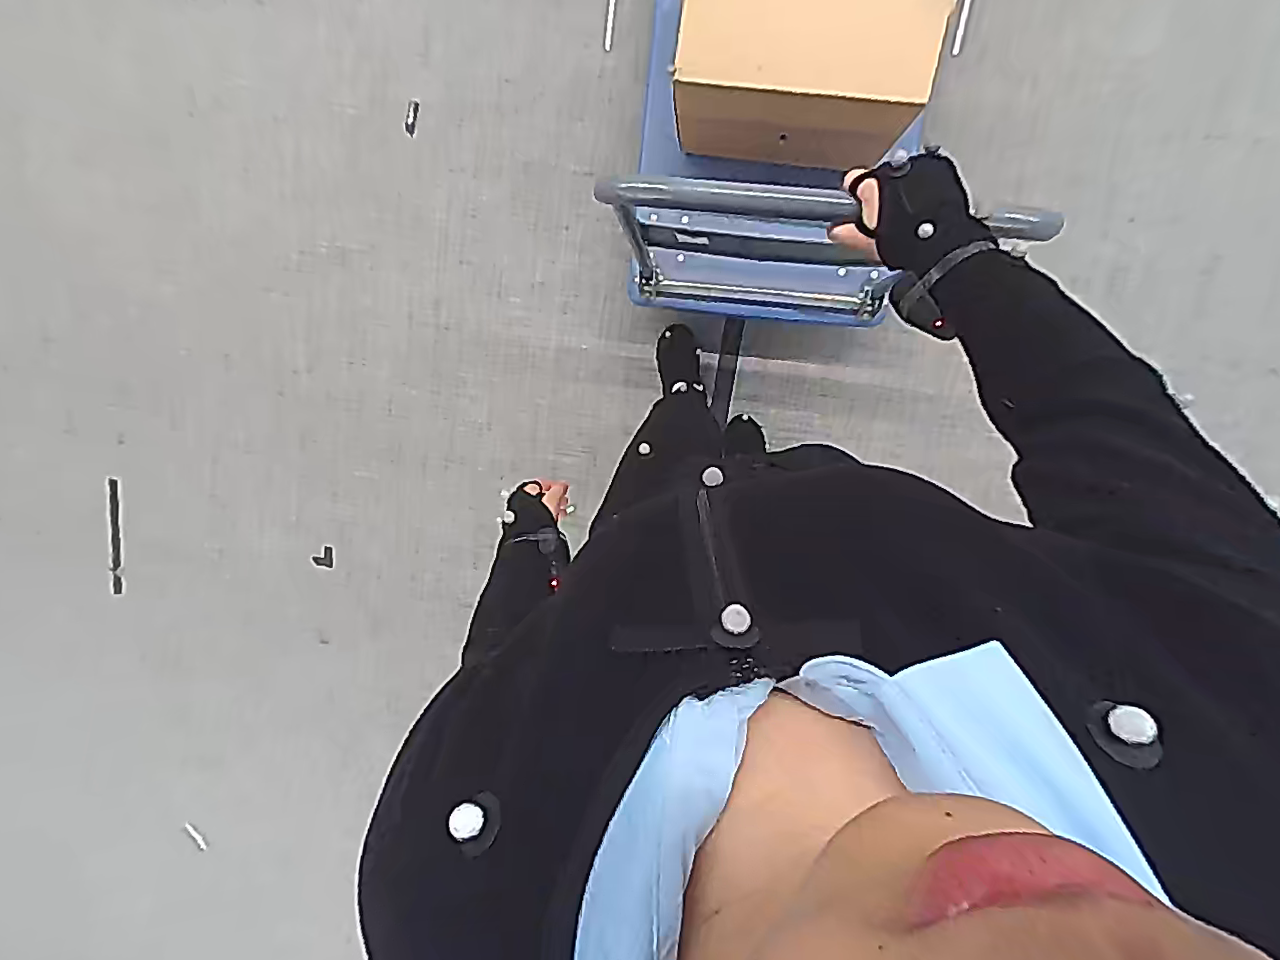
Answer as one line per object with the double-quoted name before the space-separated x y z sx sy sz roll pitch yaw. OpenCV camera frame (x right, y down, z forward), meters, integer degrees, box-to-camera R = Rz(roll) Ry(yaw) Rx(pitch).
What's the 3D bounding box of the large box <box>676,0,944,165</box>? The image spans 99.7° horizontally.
"large box" 0.292 -0.805 0.984 0.408 0.320 0.320 9 102 6
